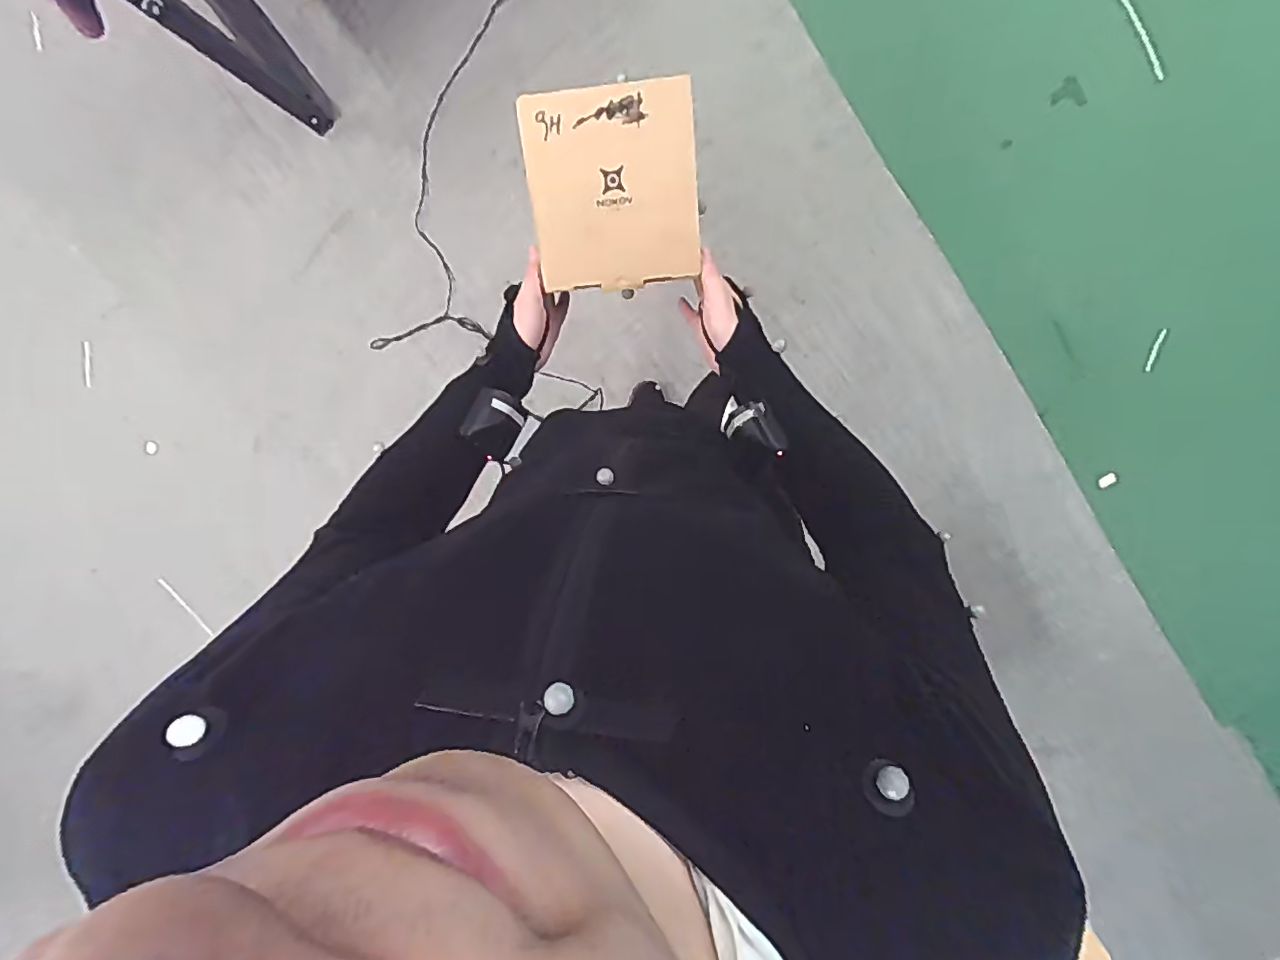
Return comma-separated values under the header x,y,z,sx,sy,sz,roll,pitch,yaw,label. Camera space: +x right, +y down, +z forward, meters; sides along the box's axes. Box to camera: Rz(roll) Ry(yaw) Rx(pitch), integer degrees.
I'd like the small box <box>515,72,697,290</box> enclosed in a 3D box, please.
x,y,z,sx,sy,sz,roll,pitch,yaw,label
-0.025,-0.315,0.600,0.168,0.176,0.179,-5,111,3,small box
